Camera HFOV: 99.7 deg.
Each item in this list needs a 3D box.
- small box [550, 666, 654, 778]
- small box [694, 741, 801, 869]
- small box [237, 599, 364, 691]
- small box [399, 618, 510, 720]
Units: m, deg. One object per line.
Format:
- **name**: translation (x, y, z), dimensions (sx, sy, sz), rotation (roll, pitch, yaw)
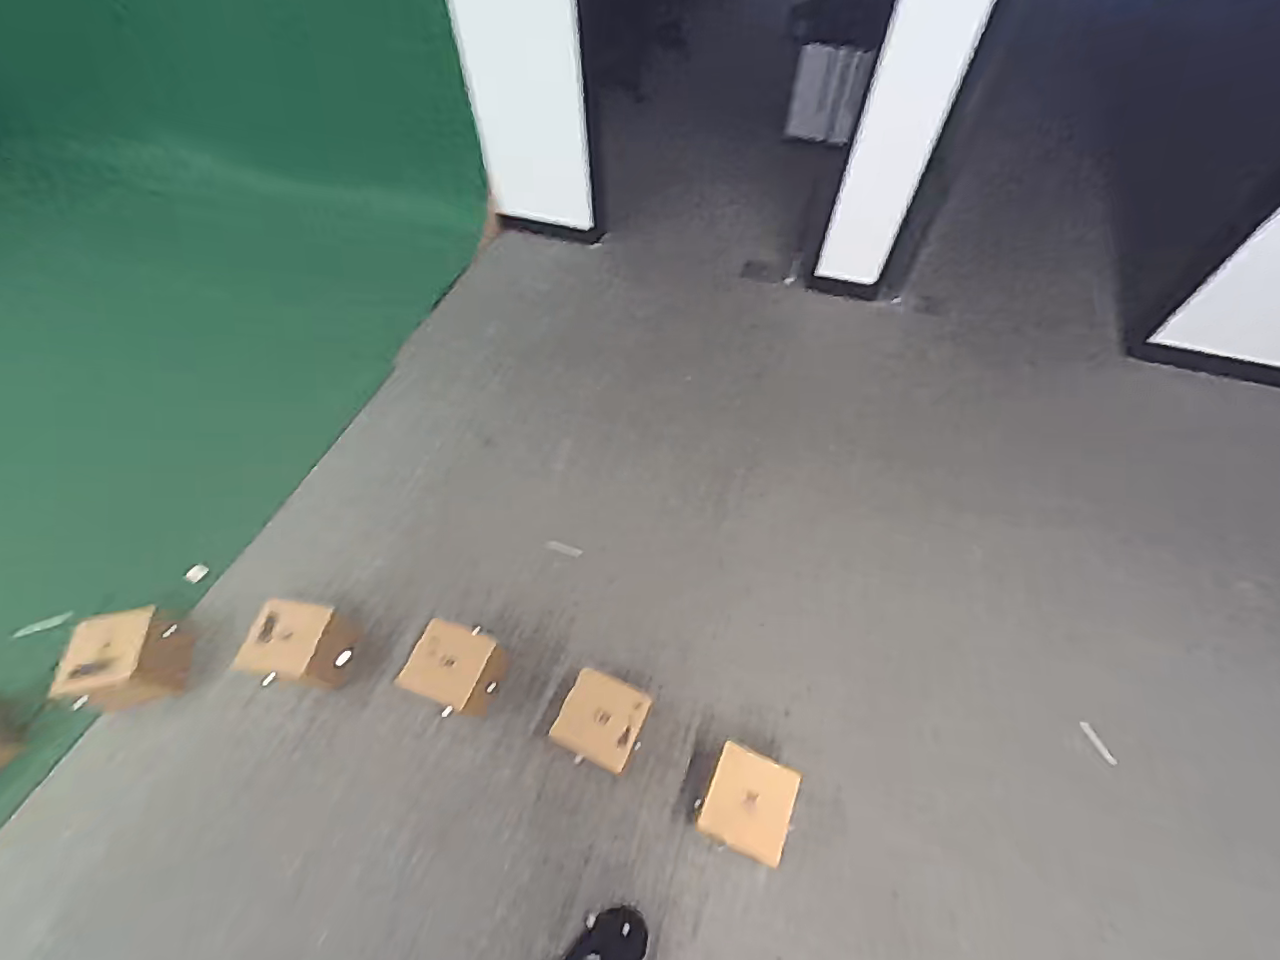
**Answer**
- **small box**: translation (-0.081, 0.561, 1.243), dimensions (0.179, 0.176, 0.168), rotation (21, 59, 15)
- **small box**: translation (0.222, 0.693, 1.155), dimensions (0.168, 0.176, 0.179), rotation (21, 59, 14)
- **small box**: translation (-0.830, 0.415, 1.343), dimensions (0.179, 0.176, 0.168), rotation (7, 56, 4)
- **small box**: translation (-0.436, 0.464, 1.309), dimensions (0.179, 0.176, 0.168), rotation (17, 57, 11)
